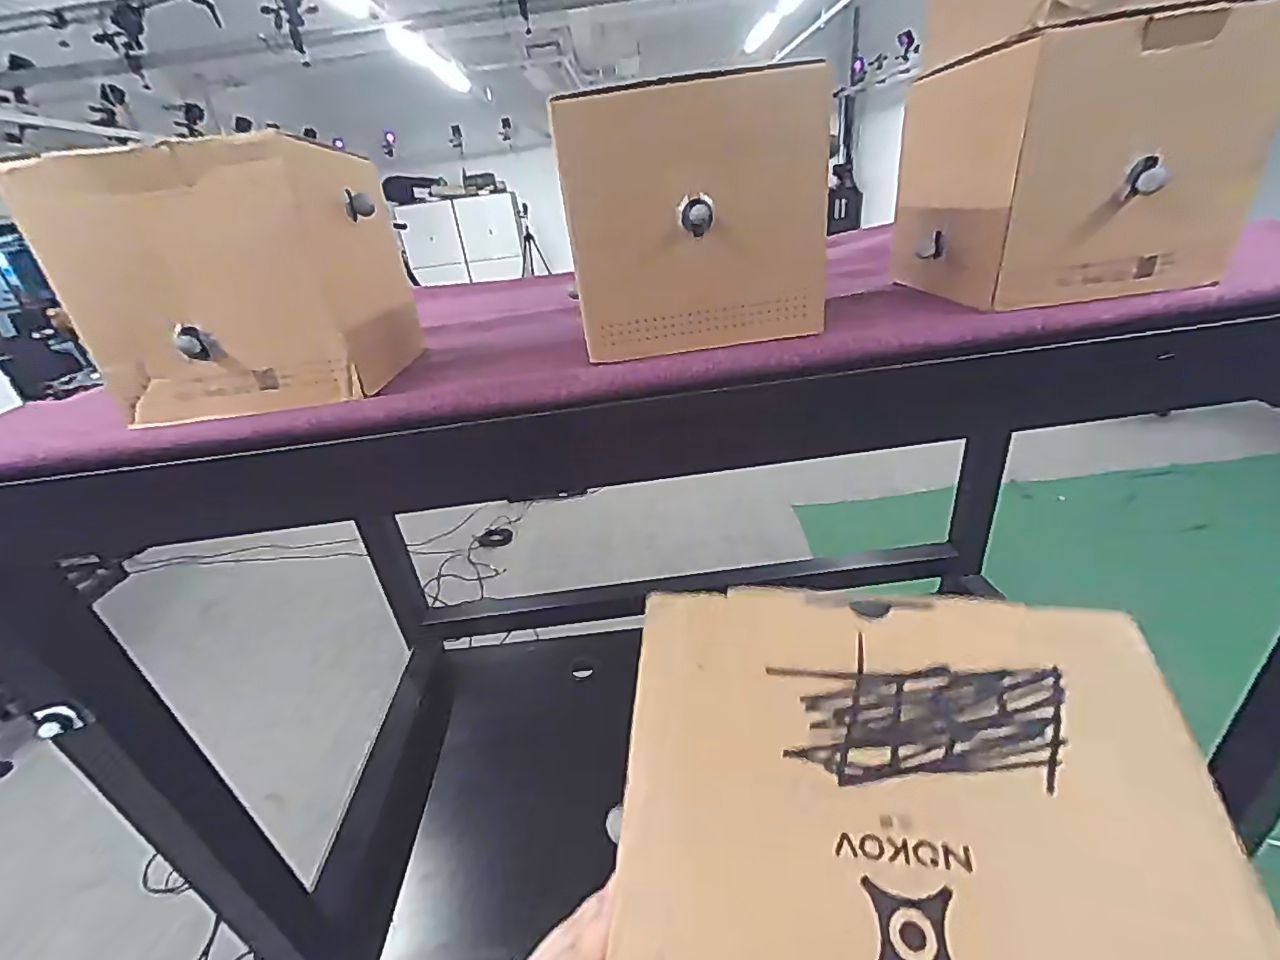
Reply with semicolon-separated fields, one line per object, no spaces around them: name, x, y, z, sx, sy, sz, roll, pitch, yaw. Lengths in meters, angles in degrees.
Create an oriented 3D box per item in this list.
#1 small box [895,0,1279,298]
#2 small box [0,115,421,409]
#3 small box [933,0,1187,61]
small box;0.324;-0.247;0.426;0.168;0.176;0.179;-7;28;2
small box;-0.287;-0.164;0.420;0.168;0.176;0.179;-8;27;-3
small box;0.314;-0.390;0.349;0.168;0.176;0.179;-7;29;5
